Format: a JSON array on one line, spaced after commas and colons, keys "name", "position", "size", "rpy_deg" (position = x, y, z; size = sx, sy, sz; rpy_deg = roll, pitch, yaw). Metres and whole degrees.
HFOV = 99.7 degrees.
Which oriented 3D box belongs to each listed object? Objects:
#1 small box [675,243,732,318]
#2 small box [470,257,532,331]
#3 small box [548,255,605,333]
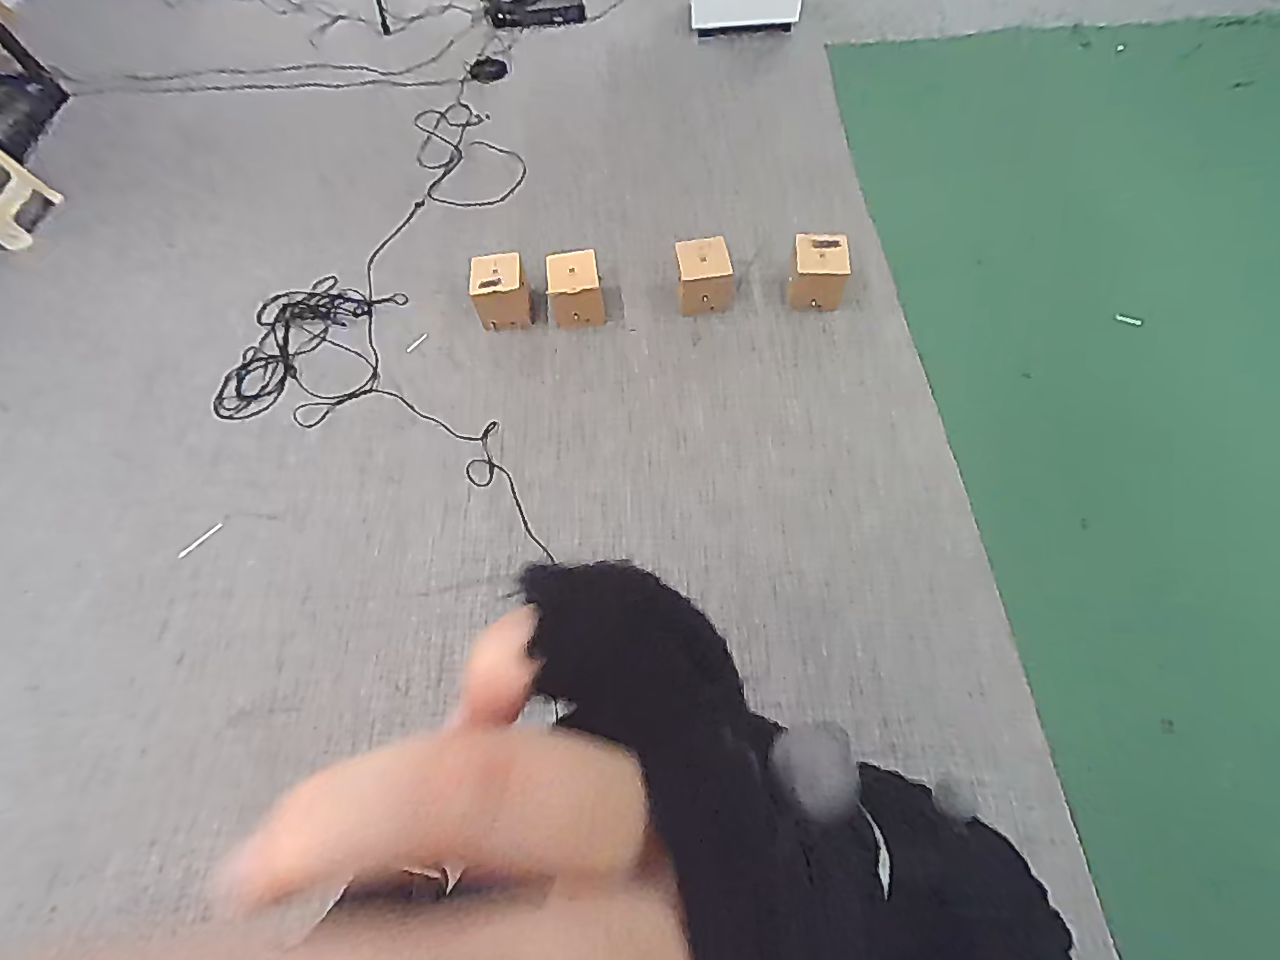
[{"name": "small box", "position": [0.211, -0.666, 1.829], "size": [0.168, 0.176, 0.179], "rpy_deg": [-7, 63, -2]}, {"name": "small box", "position": [-0.469, -0.628, 1.851], "size": [0.168, 0.176, 0.179], "rpy_deg": [-6, 62, 1]}, {"name": "small box", "position": [-0.214, -0.628, 1.837], "size": [0.168, 0.176, 0.179], "rpy_deg": [-9, 64, 0]}]
